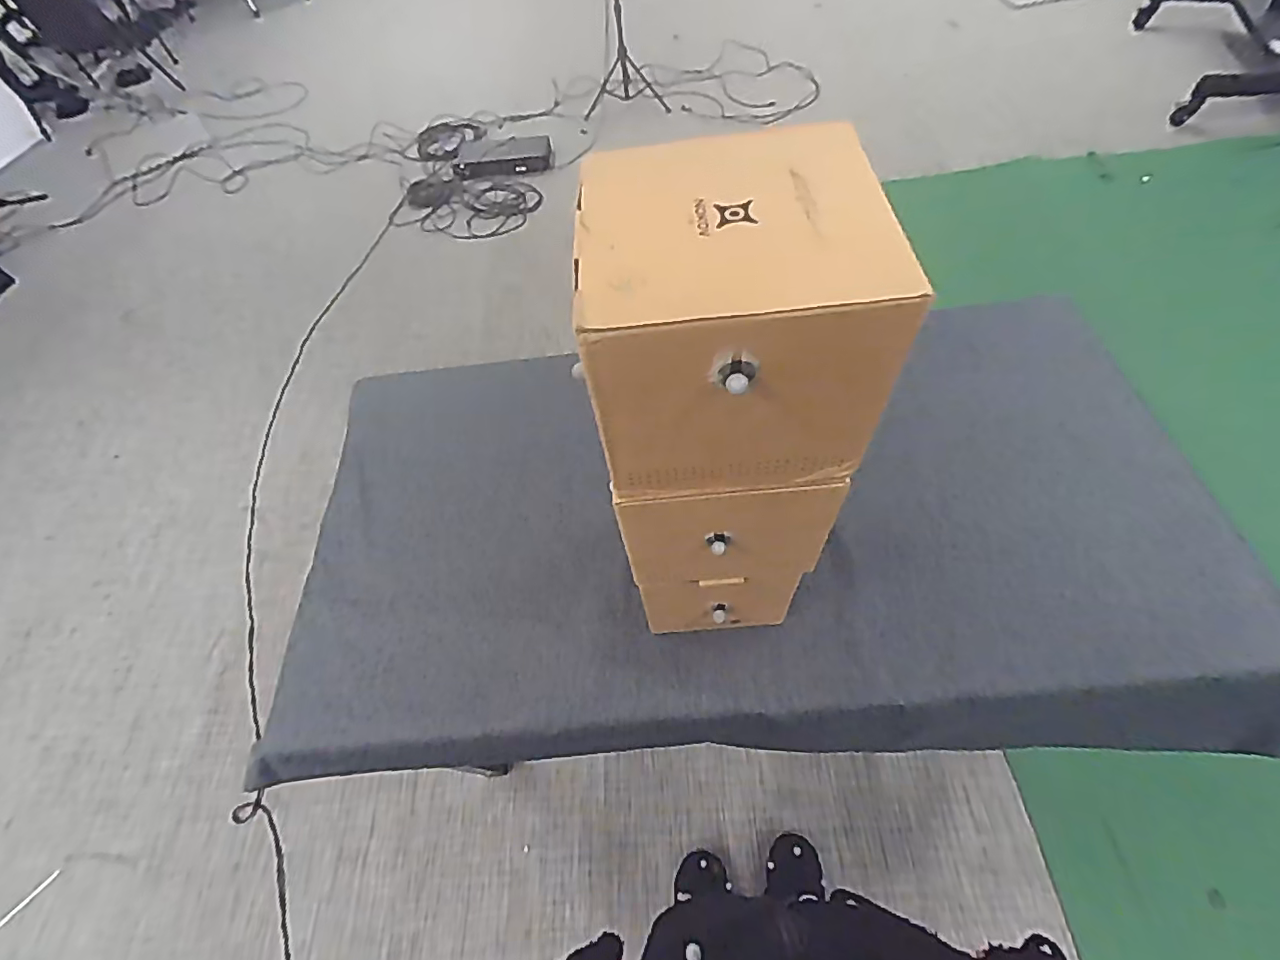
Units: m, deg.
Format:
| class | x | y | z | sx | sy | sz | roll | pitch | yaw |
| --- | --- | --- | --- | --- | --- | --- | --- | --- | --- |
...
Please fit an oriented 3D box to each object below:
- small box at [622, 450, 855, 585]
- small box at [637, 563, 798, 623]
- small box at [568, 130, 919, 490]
| class | x | y | z | sx | sy | sz | roll | pitch | yaw |
| --- | --- | --- | --- | --- | --- | --- | --- | --- | --- |
| small box | 0.072 | -0.013 | 0.508 | 0.179 | 0.176 | 0.168 | -7 | 58 | 1 |
| small box | 0.084 | 0.066 | 0.652 | 0.168 | 0.176 | 0.179 | -6 | 58 | 3 |
| small box | 0.055 | -0.104 | 0.374 | 0.179 | 0.176 | 0.168 | -5 | 59 | 3 |
